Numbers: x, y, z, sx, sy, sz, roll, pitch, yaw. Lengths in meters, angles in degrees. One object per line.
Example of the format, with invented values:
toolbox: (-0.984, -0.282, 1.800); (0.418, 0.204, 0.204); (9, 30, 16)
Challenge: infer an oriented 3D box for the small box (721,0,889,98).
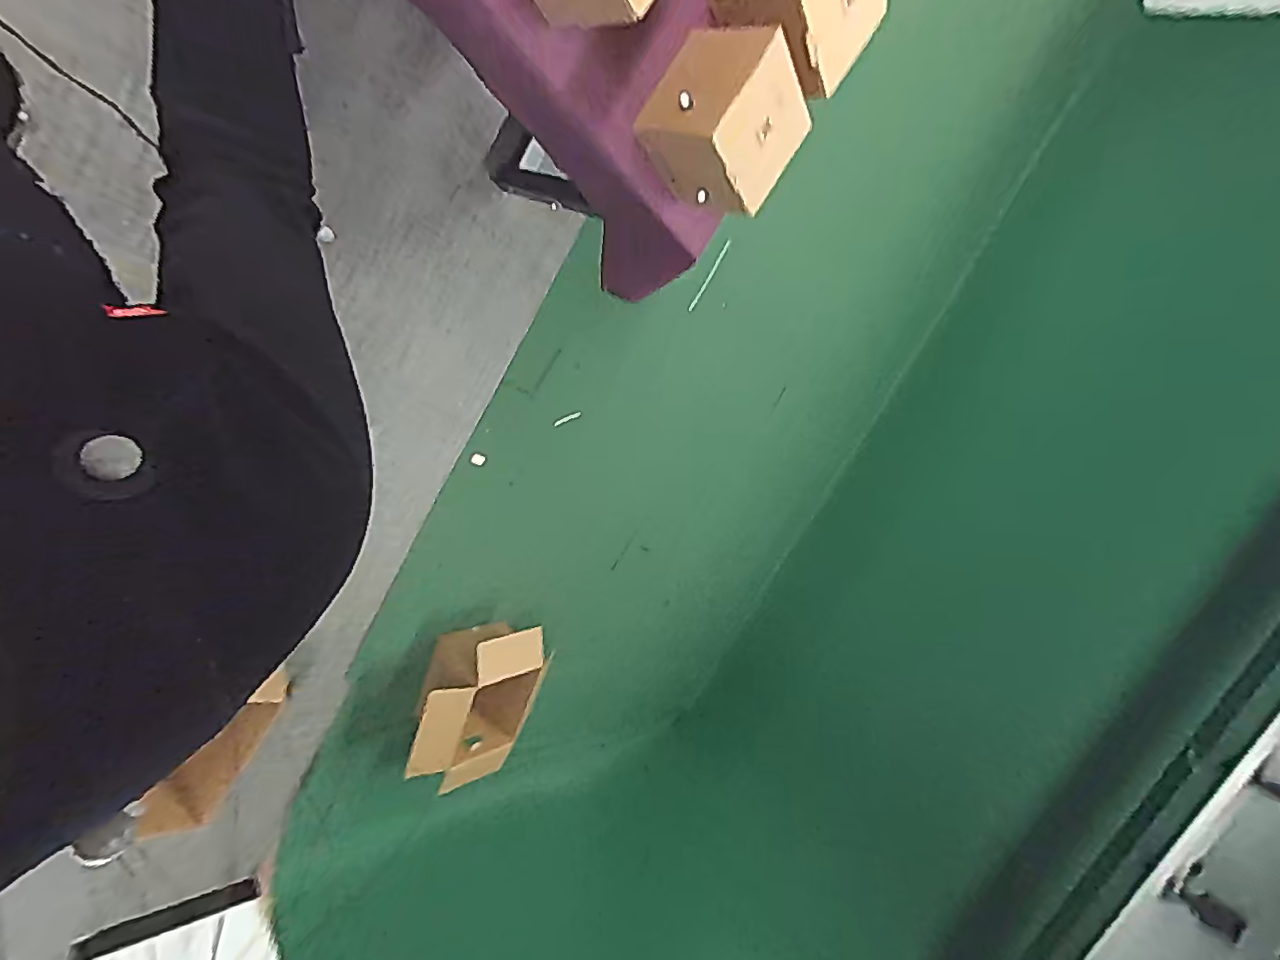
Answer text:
small box: (0.245, -0.727, 0.823); (0.179, 0.176, 0.168); (-55, 144, 1)

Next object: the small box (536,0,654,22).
small box: (-0.047, -0.633, 0.567); (0.179, 0.176, 0.168); (-56, 144, 2)
